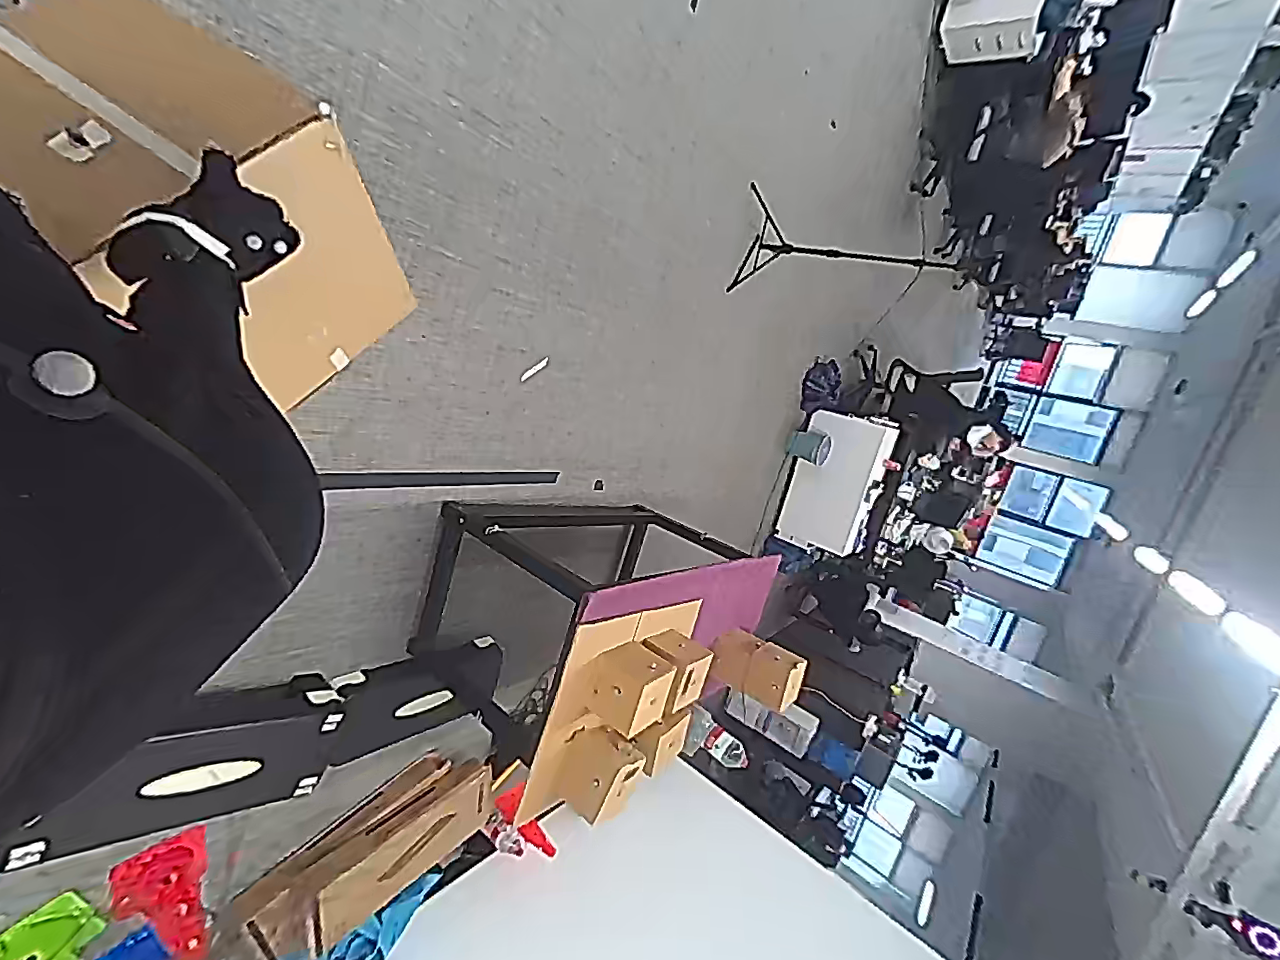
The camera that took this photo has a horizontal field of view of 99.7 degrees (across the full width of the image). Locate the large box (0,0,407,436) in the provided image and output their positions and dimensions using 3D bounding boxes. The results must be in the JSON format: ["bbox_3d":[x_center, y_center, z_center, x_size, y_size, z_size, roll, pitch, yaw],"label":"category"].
[{"bbox_3d":[-0.611,-0.335,0.731,0.320,0.408,0.320,-51,169,-21],"label":"large box"}]
